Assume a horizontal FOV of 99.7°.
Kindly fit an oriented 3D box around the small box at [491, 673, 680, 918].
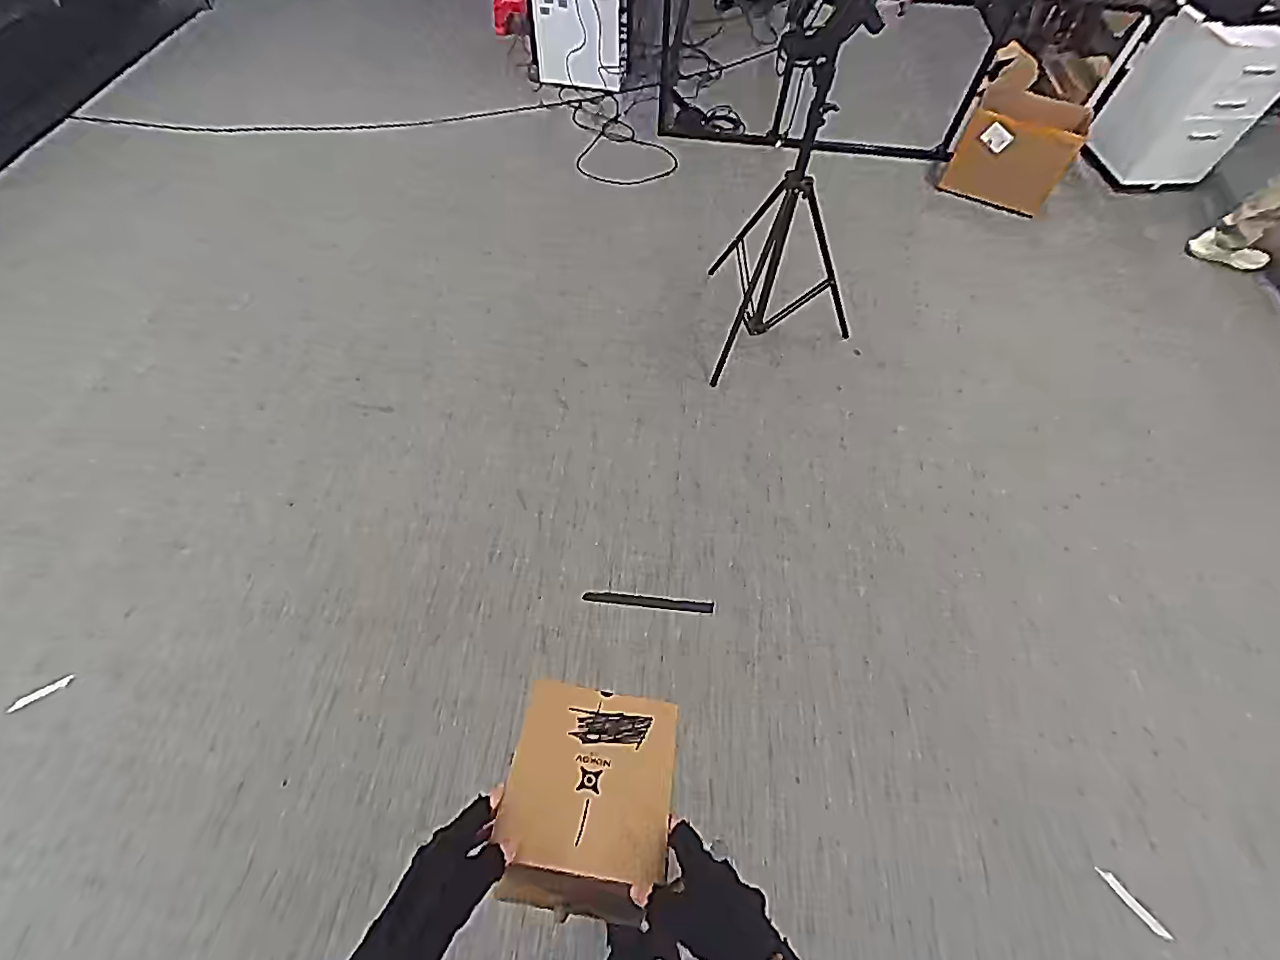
[{"bbox_3d":[-0.055,0.347,0.598,0.168,0.176,0.179,10,42,1],"label":"small box"}]
